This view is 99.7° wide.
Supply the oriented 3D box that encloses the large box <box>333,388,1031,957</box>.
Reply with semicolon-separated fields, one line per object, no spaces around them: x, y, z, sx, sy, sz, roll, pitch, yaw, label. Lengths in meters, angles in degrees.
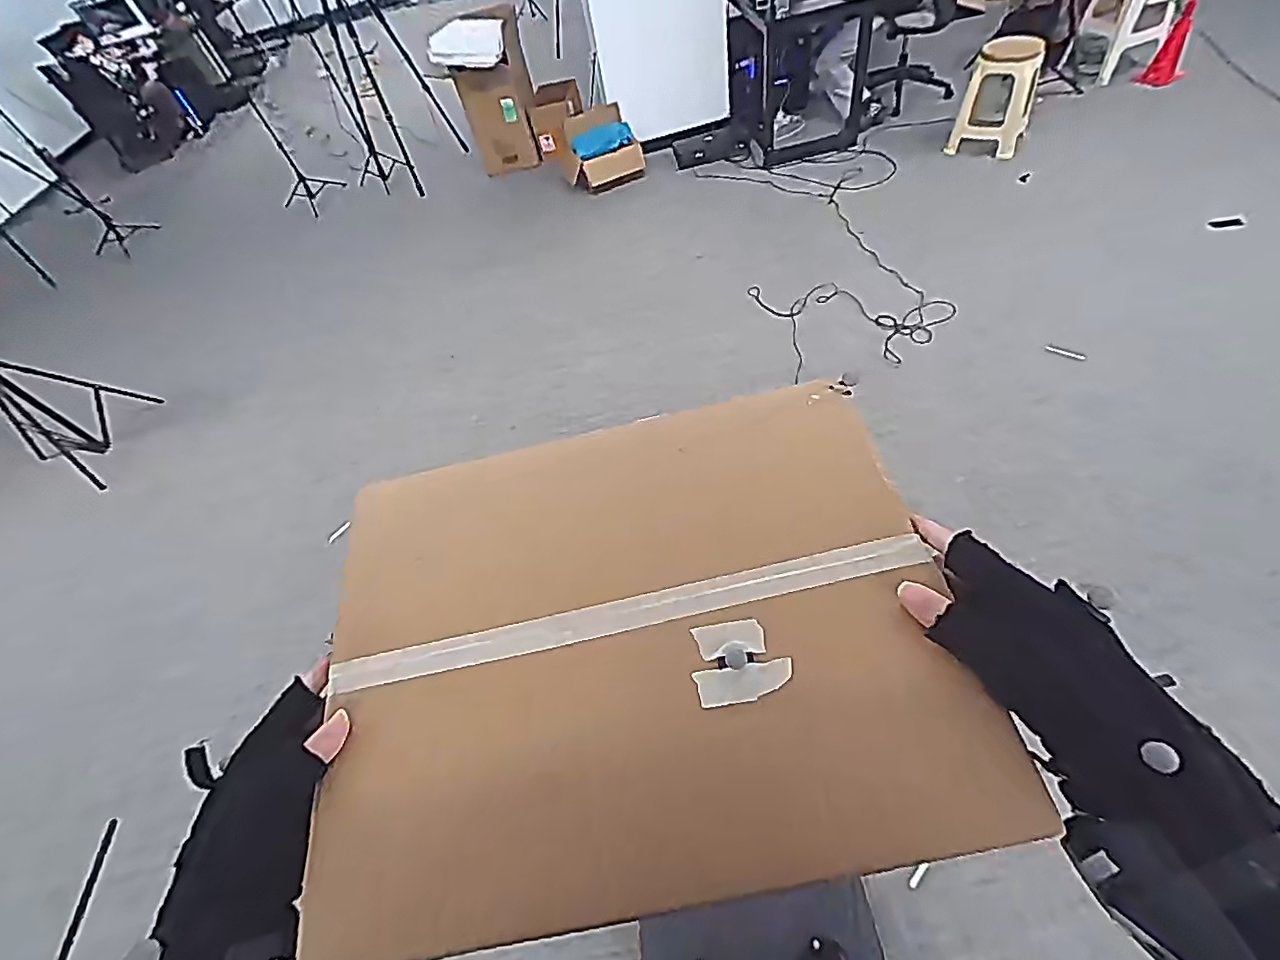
0.014;0.170;0.499;0.408;0.320;0.320;-13;58;2;large box
